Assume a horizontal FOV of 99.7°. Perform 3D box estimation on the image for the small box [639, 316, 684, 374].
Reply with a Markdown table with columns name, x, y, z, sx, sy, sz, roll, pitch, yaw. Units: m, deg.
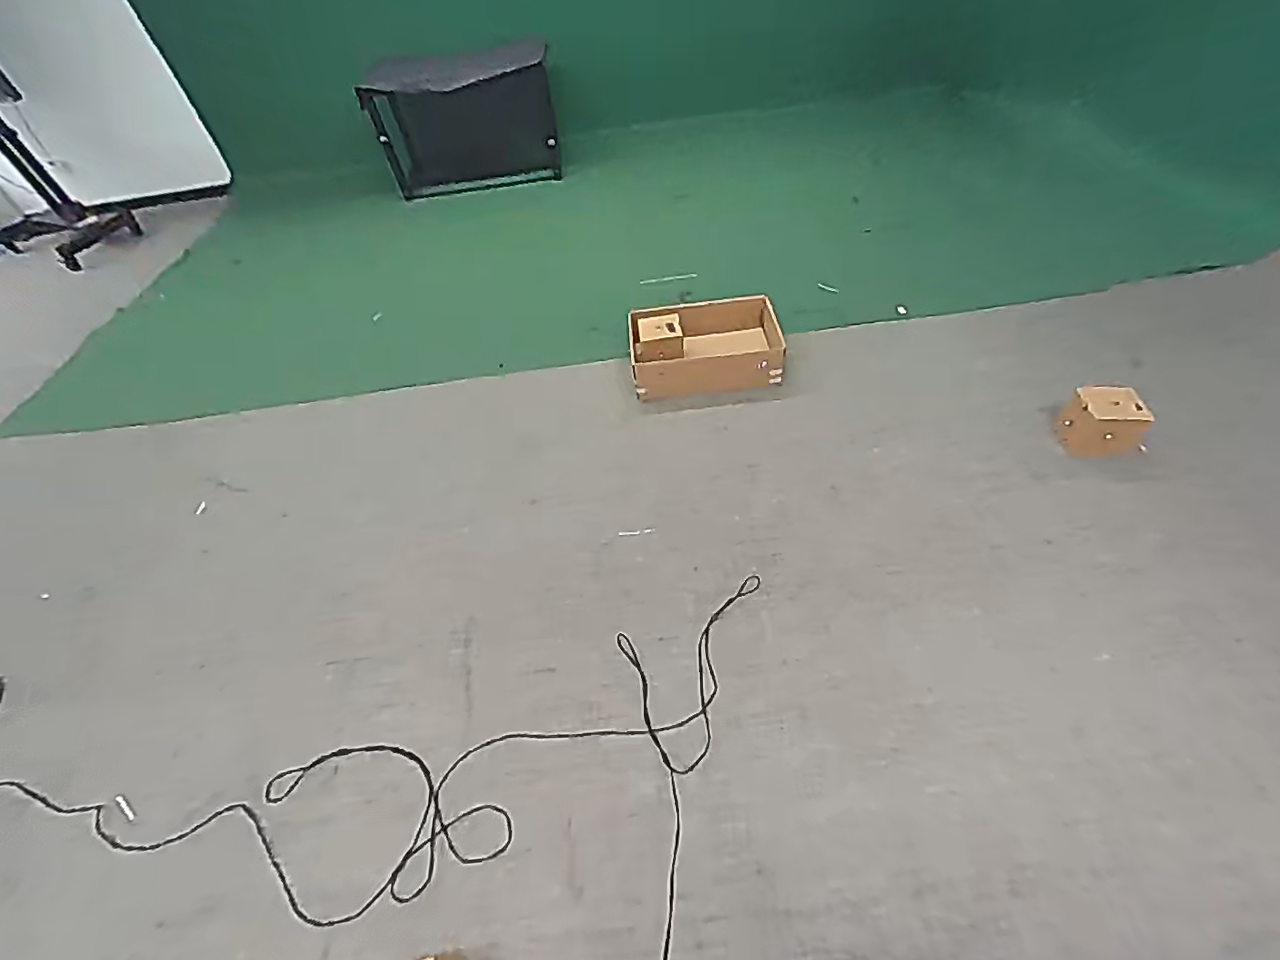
| name | x | y | z | sx | sy | sz | roll | pitch | yaw |
| --- | --- | --- | --- | --- | --- | --- | --- | --- | --- |
| small box | 0.094 | -0.571 | 2.293 | 0.179 | 0.176 | 0.168 | -7 | 49 | 2 |

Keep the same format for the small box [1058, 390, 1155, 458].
| name | x | y | z | sx | sy | sz | roll | pitch | yaw |
| --- | --- | --- | --- | --- | --- | --- | --- | --- | --- |
| small box | 1.560 | -0.188 | 1.827 | 0.179 | 0.176 | 0.168 | 1 | 49 | 10 |
